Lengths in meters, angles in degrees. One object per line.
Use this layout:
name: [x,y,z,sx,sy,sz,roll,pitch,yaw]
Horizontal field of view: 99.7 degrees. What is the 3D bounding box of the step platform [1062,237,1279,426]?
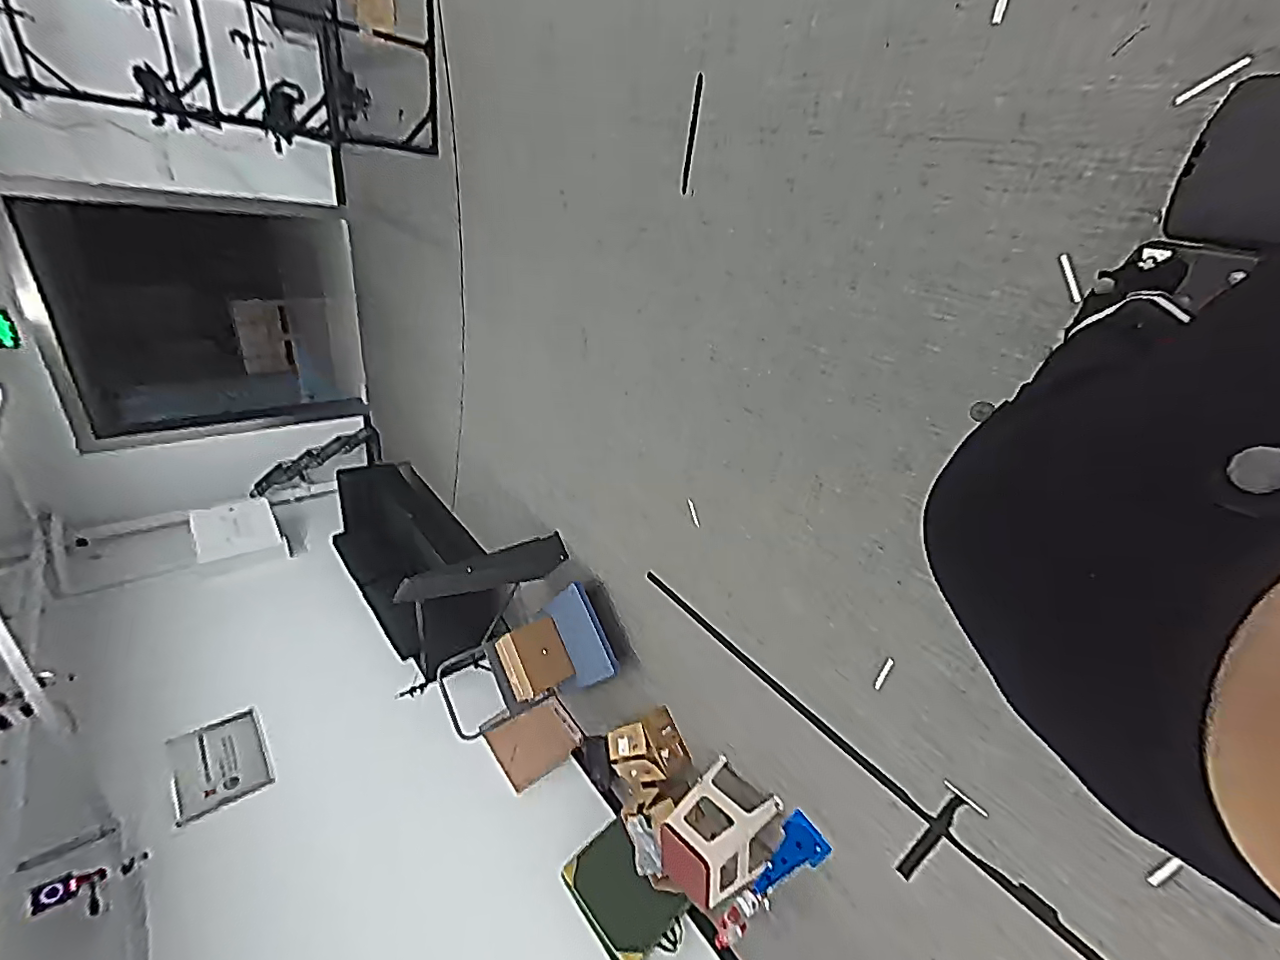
step platform: [1.227,-0.256,1.010,0.684,0.204,0.286,35,128,41]
